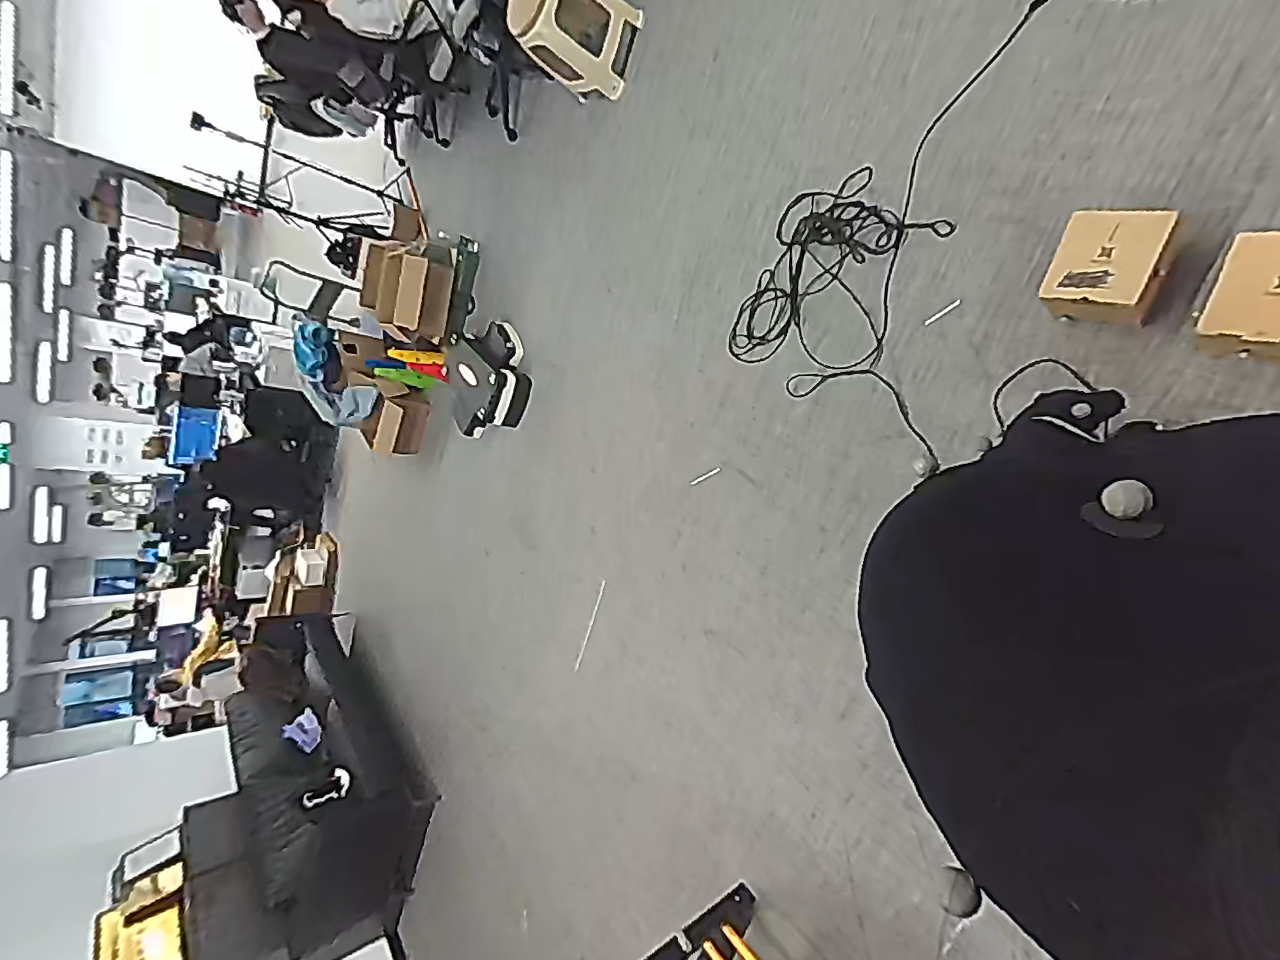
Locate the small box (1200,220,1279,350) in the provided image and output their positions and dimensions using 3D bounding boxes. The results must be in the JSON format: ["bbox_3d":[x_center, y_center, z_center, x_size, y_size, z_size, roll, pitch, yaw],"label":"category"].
[{"bbox_3d":[1.119,-0.333,0.939,0.168,0.176,0.179,25,107,45],"label":"small box"}]

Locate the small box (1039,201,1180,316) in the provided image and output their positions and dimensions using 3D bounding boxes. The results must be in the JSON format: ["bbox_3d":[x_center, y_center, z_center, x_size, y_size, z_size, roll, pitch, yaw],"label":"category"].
[{"bbox_3d":[0.963,-0.448,1.106,0.168,0.176,0.179,29,108,43],"label":"small box"}]
